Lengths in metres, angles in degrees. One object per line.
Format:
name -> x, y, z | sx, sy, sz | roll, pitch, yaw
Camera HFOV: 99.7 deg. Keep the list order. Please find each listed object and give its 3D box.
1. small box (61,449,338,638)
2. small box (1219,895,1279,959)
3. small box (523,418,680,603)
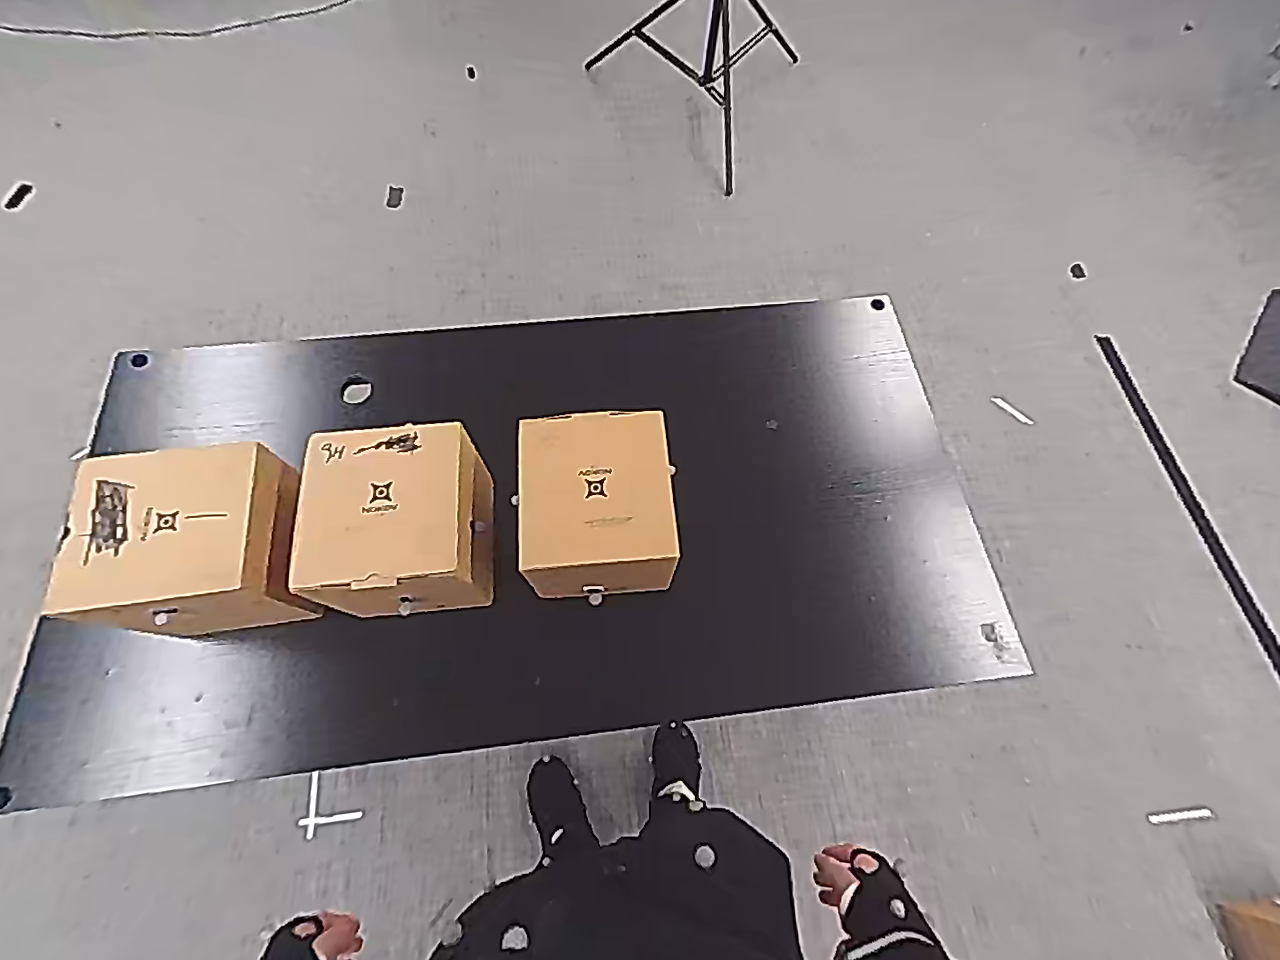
small box -> -0.486, 0.081, 0.631 | 0.179, 0.176, 0.168 | -7, 67, -6
small box -> 1.369, 0.983, 1.098 | 0.168, 0.176, 0.179 | -4, 67, -4
small box -> -0.048, 0.044, 0.665 | 0.168, 0.176, 0.179 | -5, 68, -3
